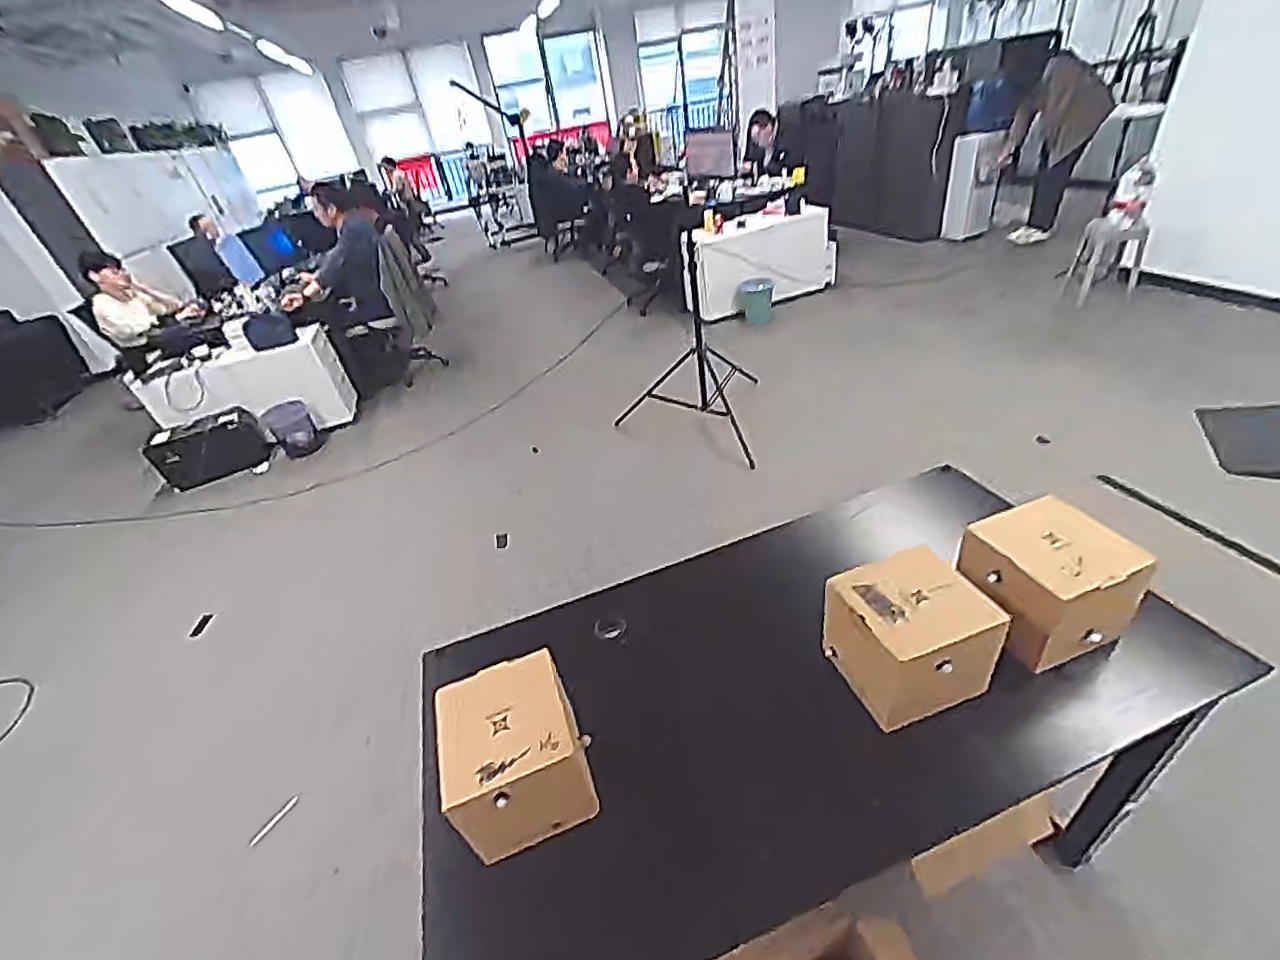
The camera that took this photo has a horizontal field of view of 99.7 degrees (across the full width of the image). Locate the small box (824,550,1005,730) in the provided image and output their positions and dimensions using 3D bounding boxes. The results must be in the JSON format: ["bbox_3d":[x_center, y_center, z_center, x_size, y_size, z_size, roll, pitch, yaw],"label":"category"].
[{"bbox_3d":[0.396,0.240,0.811,0.179,0.176,0.168,-17,35,-9],"label":"small box"}]

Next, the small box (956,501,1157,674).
[{"bbox_3d":[0.627,0.166,0.848,0.168,0.176,0.179,-18,35,-8],"label":"small box"}]

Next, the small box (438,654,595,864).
[{"bbox_3d":[-0.174,0.387,0.760,0.168,0.176,0.179,-18,35,-11],"label":"small box"}]
